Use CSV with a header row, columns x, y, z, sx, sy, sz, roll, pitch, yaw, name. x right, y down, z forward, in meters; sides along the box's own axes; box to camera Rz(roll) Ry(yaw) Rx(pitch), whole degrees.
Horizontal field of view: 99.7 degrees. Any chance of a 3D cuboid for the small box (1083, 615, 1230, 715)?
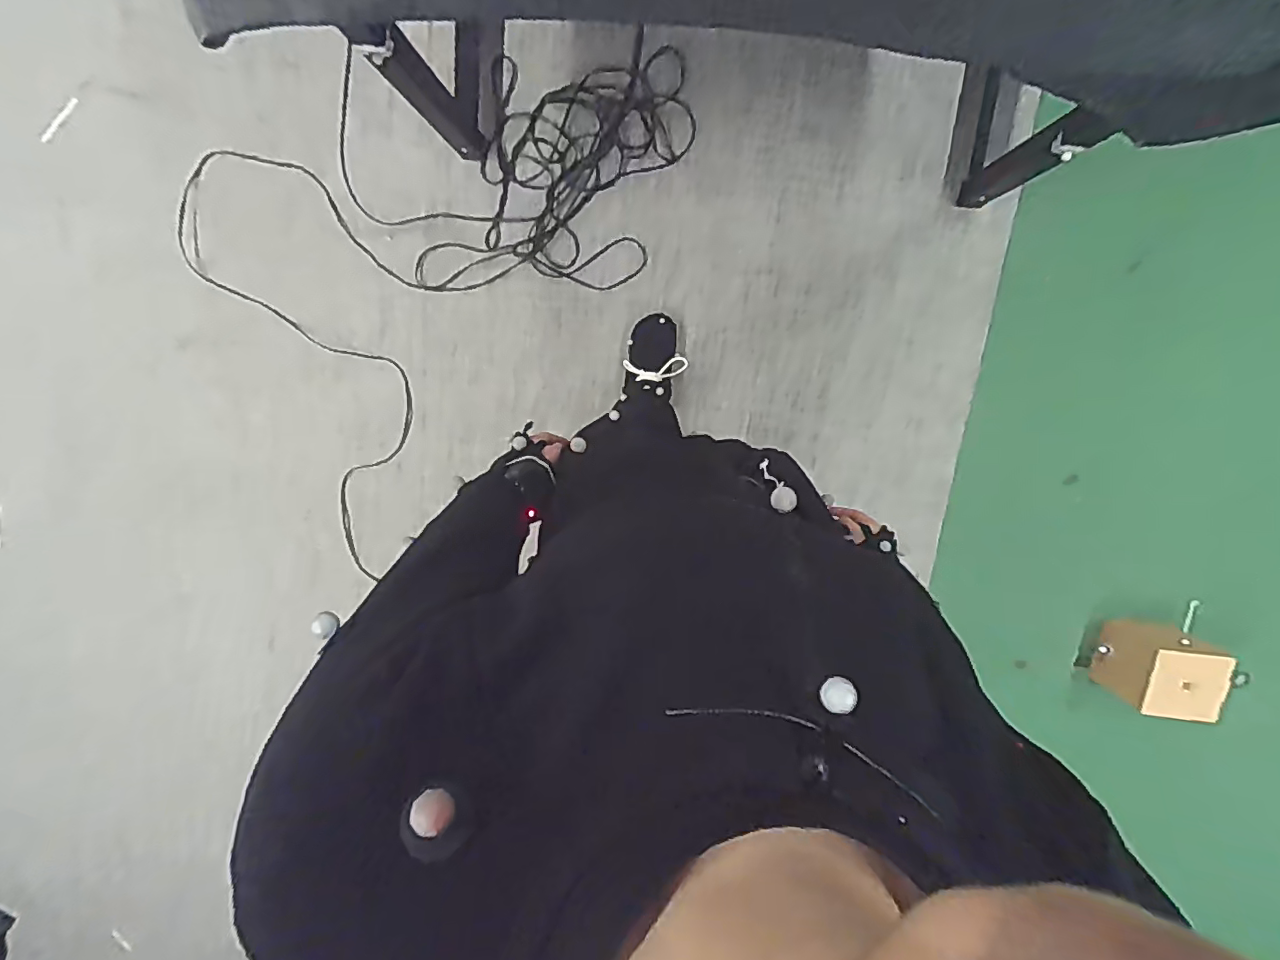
x,y,z,sx,sy,sz,roll,pitch,yaw,name
1.250,0.444,1.322,0.179,0.176,0.168,5,101,2,small box
